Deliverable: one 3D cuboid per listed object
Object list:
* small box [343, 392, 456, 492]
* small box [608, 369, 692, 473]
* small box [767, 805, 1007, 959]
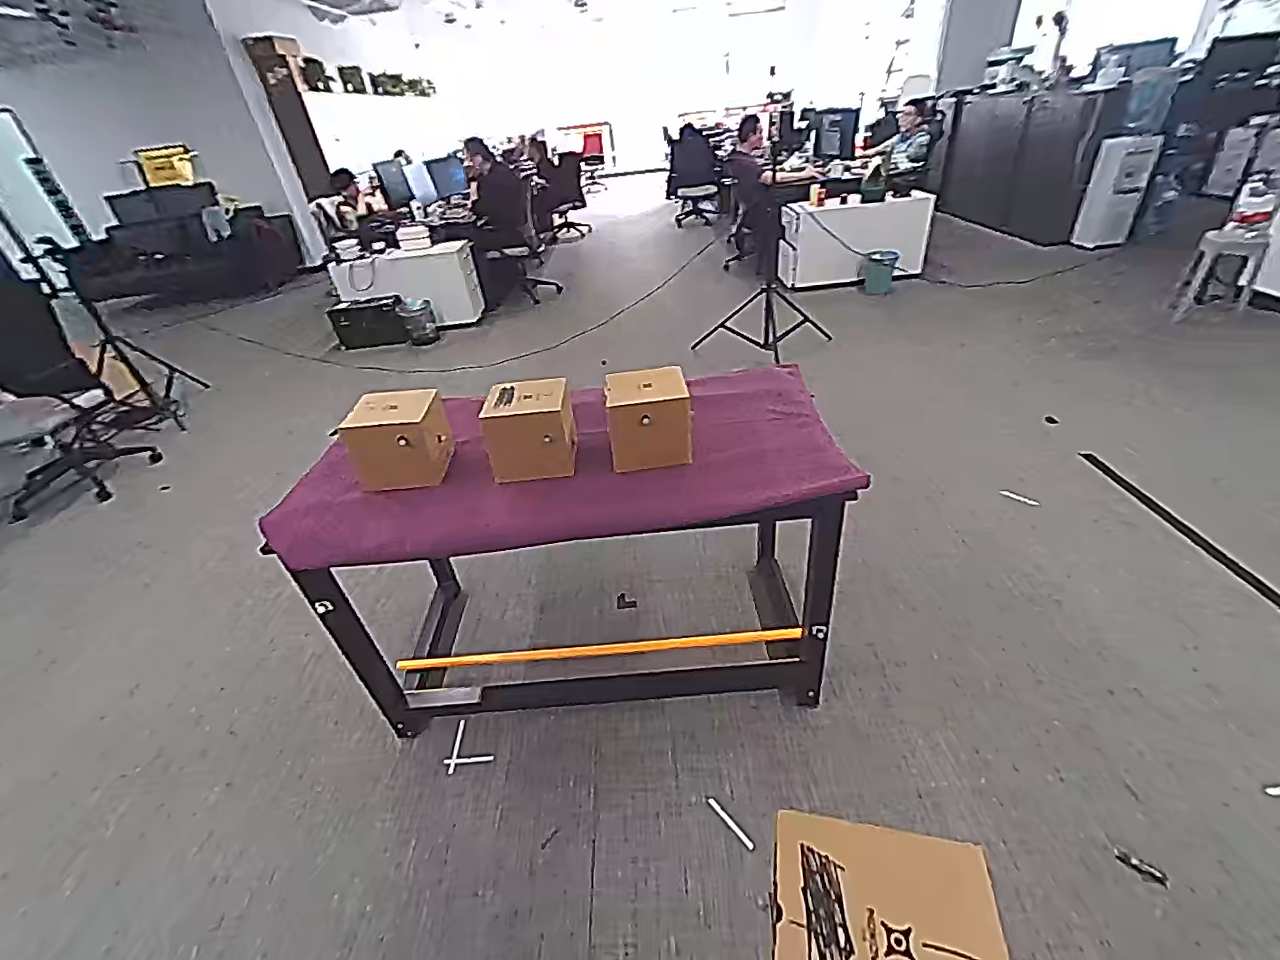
[{"bbox_3d":[-0.543,-0.087,1.252,0.179,0.176,0.168,-5,34,-1],"label":"small box"},{"bbox_3d":[0.024,-0.133,1.227,0.179,0.176,0.168,-7,34,1],"label":"small box"},{"bbox_3d":[0.201,0.424,0.474,0.179,0.176,0.168,3,35,14],"label":"small box"}]
